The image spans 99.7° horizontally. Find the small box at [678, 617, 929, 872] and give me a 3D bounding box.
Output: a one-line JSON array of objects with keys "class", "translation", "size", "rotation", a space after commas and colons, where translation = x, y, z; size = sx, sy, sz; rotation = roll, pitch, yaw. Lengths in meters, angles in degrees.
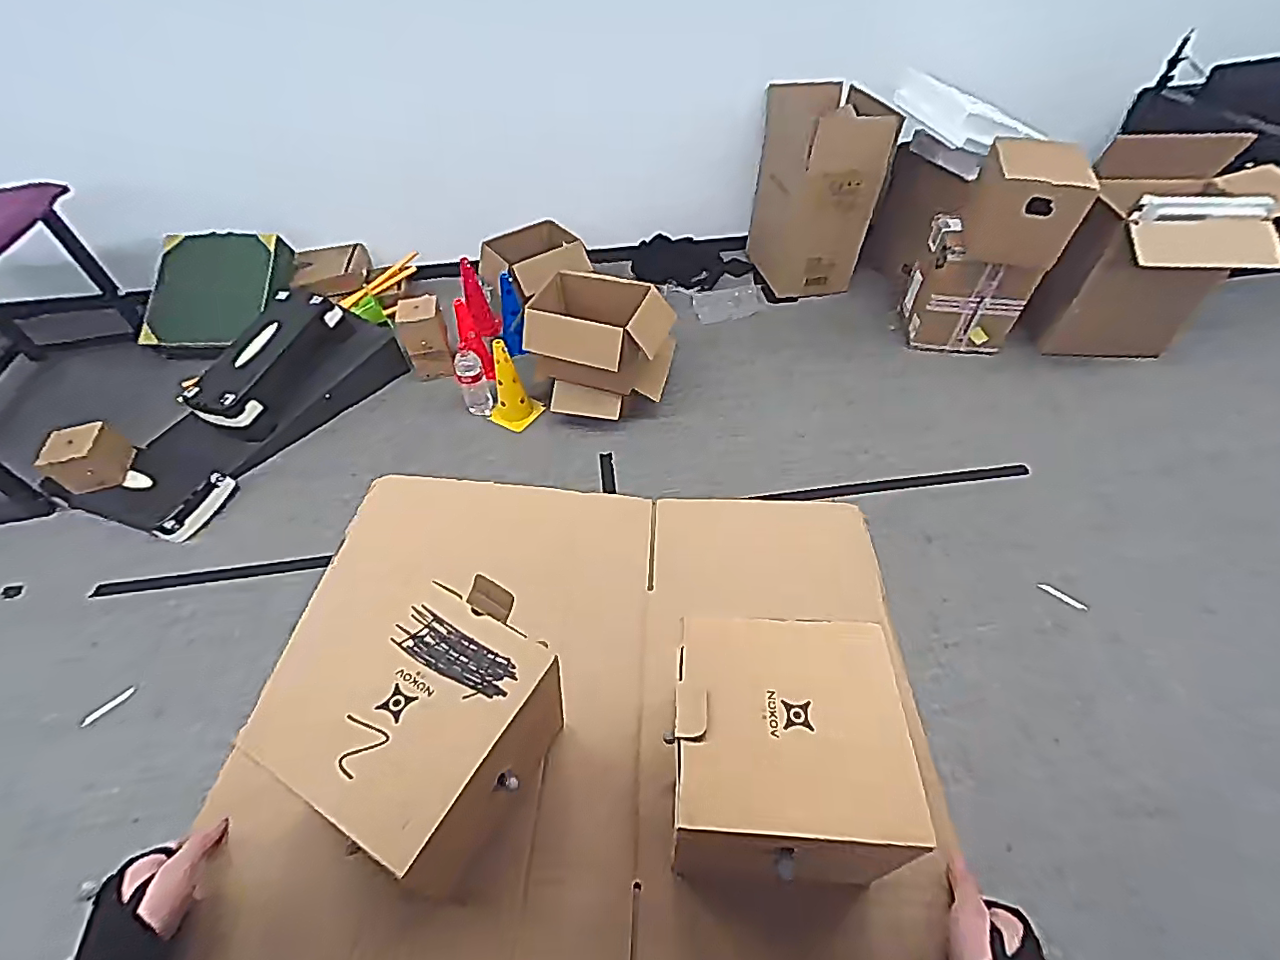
[{"class": "small box", "translation": [0.125, 0.243, 0.493], "size": [0.179, 0.176, 0.168], "rotation": [1, 47, 5]}]
